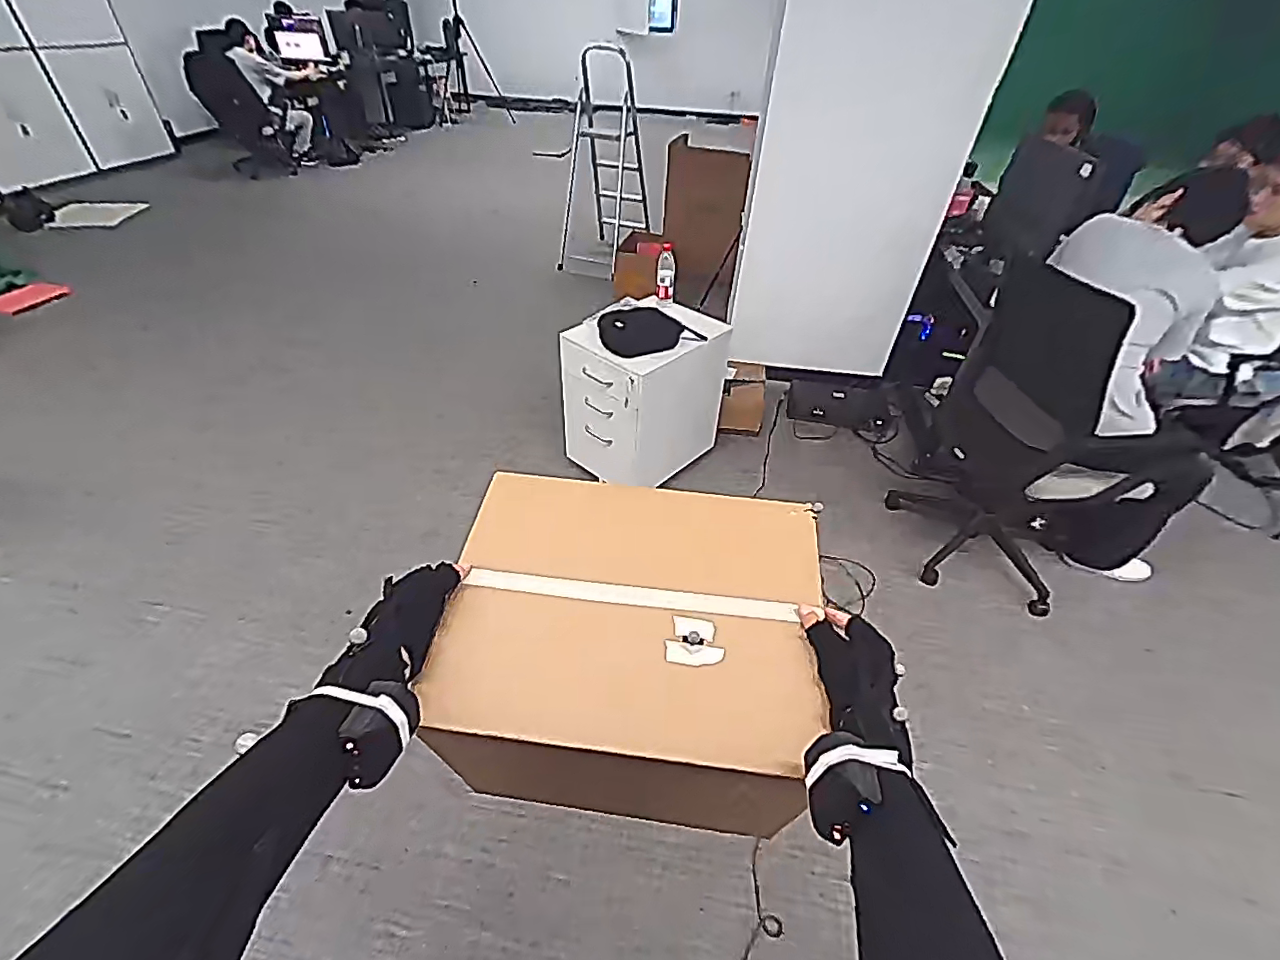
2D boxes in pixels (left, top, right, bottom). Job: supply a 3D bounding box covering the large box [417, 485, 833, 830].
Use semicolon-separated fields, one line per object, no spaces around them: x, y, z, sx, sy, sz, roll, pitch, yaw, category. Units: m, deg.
-0.008;0.235;0.713;0.408;0.320;0.320;6;50;3;large box
